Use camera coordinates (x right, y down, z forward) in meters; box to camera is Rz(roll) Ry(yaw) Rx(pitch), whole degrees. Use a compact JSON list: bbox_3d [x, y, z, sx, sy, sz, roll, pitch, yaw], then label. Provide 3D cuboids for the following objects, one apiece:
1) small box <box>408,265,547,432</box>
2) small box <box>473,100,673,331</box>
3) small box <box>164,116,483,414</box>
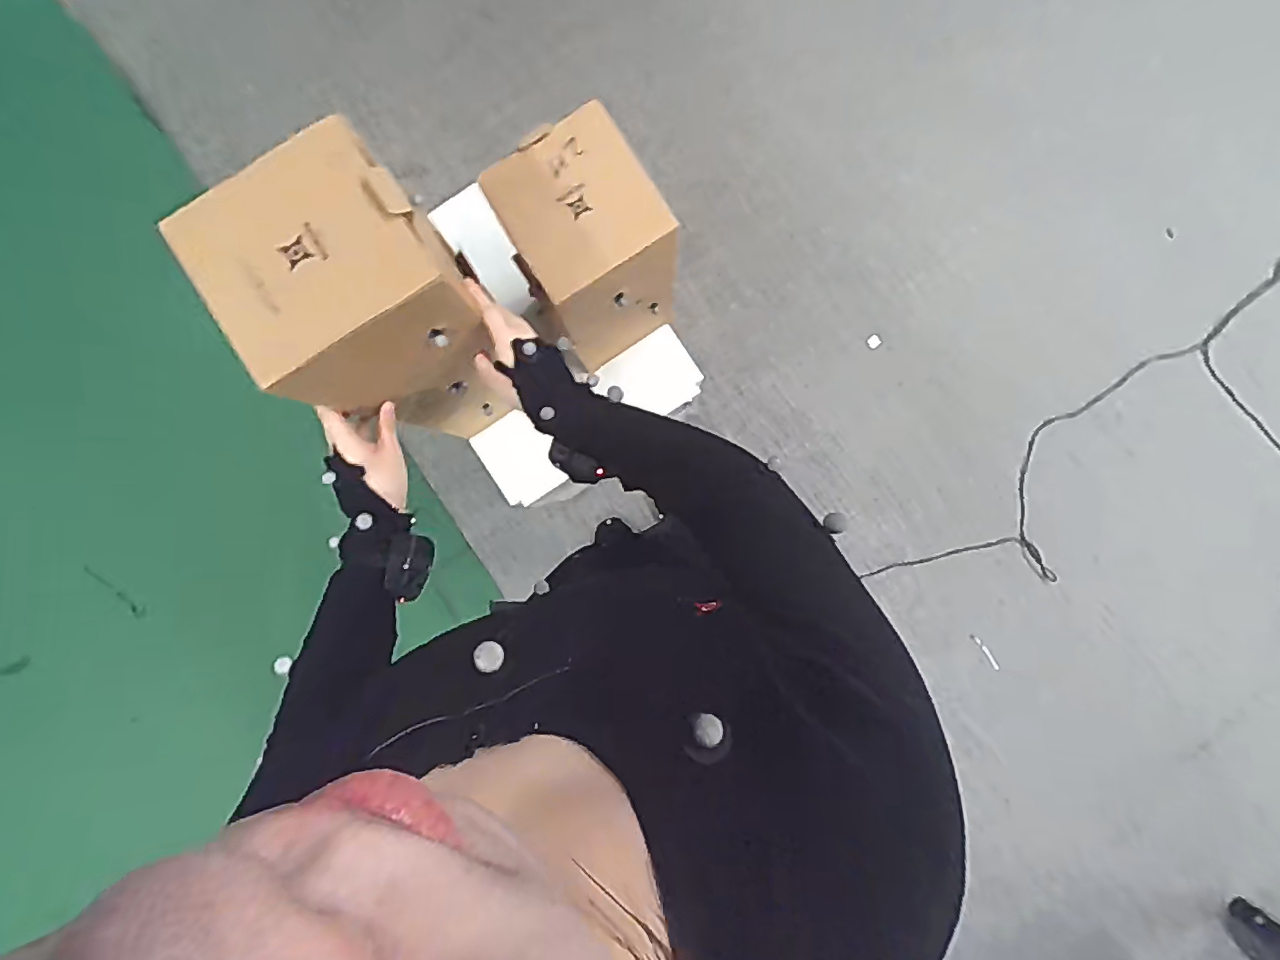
[{"bbox_3d":[-0.269,-0.190,0.846,0.179,0.176,0.168,-34,89,0],"label":"small box"},{"bbox_3d":[-0.071,-0.308,0.678,0.168,0.176,0.179,-33,88,1],"label":"small box"},{"bbox_3d":[-0.273,-0.183,0.518,0.179,0.176,0.168,-33,88,1],"label":"small box"}]
